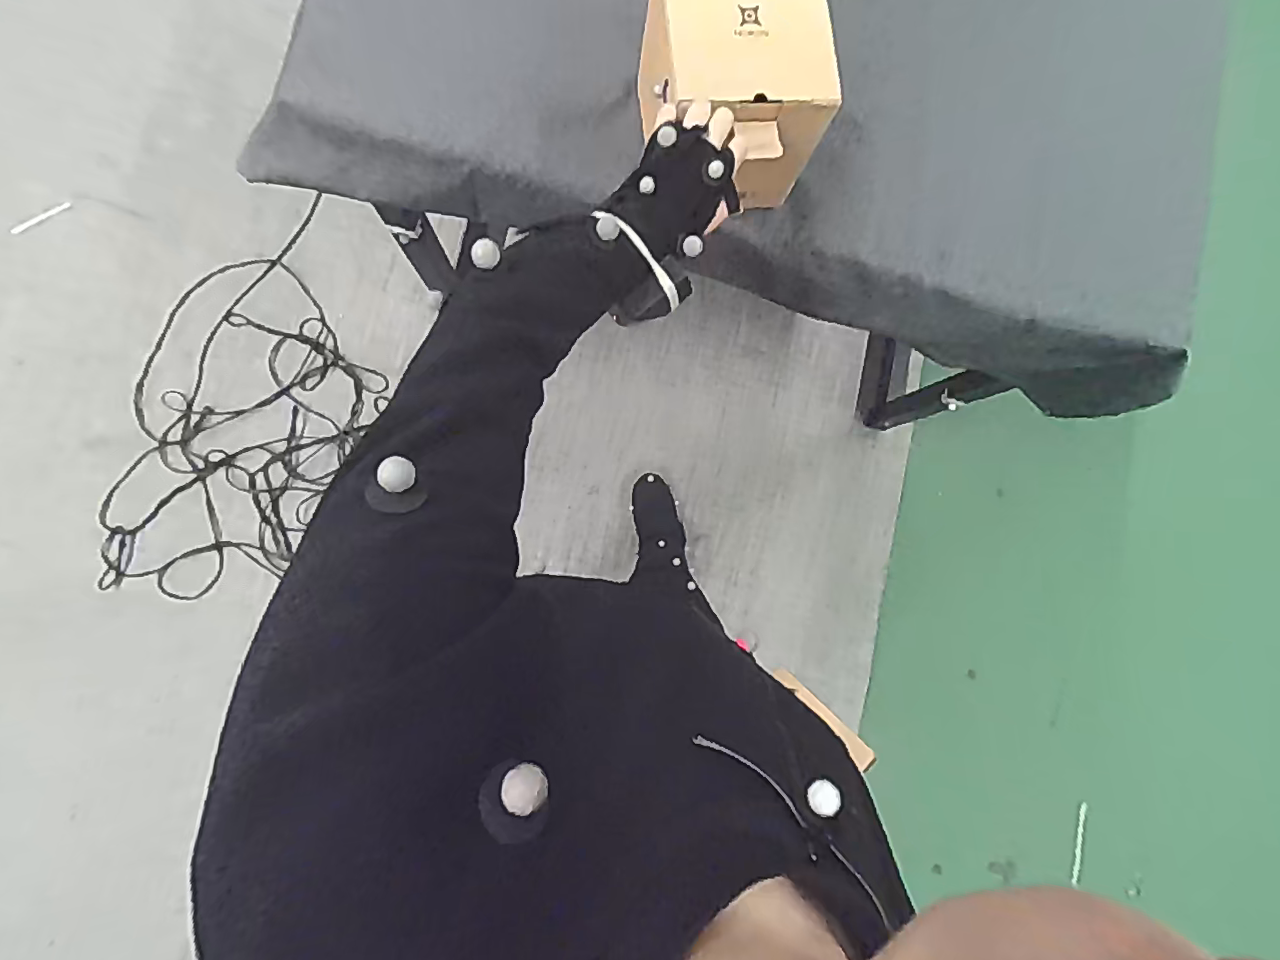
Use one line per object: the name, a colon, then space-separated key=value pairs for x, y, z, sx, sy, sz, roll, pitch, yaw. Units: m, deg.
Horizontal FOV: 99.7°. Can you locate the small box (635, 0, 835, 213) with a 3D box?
small box: x=0.091 y=-0.430 z=0.604 sx=0.168 sy=0.176 sz=0.179 roll=-6 pitch=85 yaw=-7
